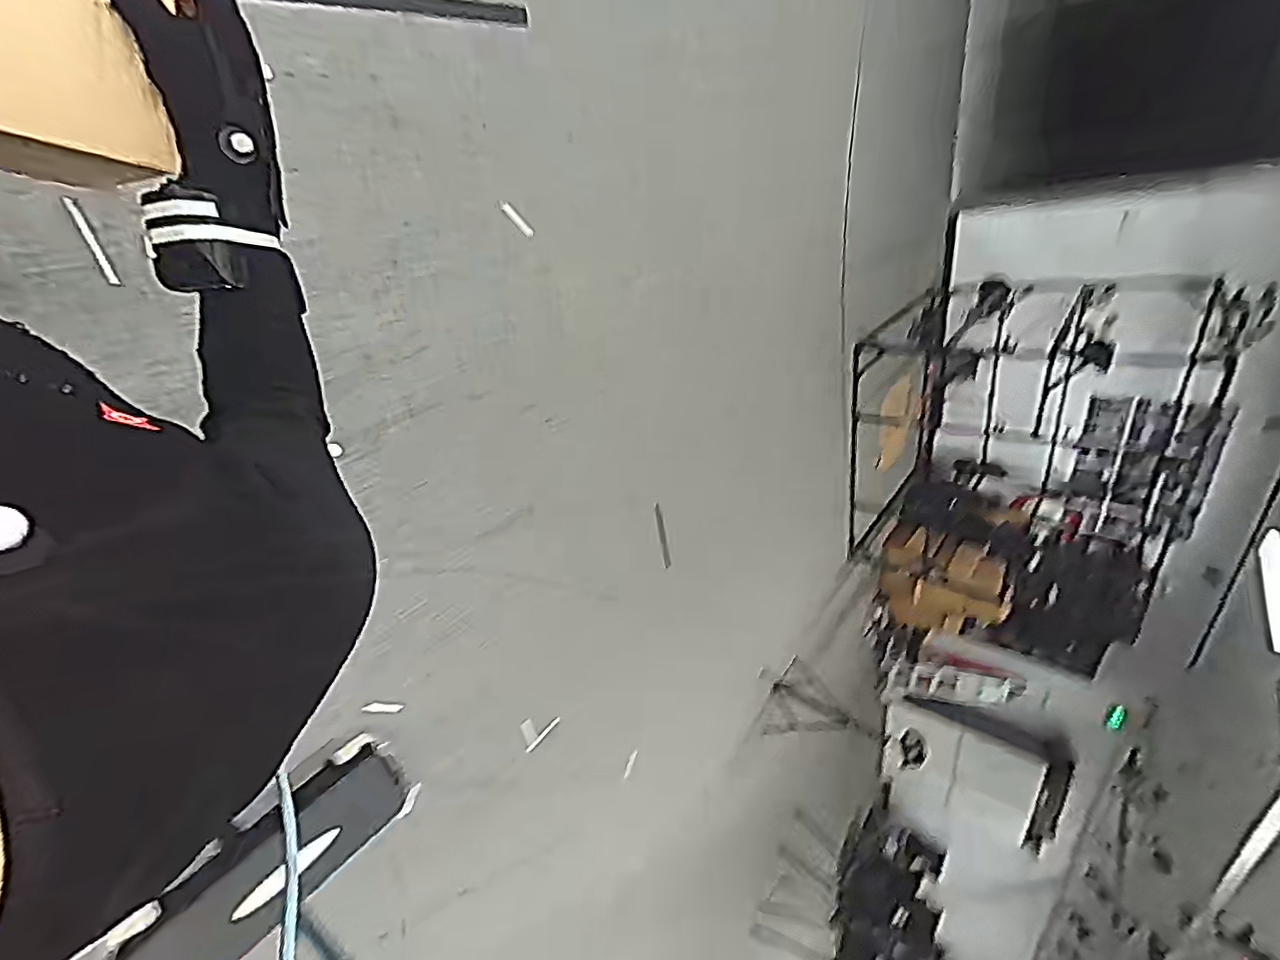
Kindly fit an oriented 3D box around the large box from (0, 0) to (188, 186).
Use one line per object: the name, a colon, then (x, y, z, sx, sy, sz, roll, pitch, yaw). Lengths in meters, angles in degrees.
large box: (-0.558, -0.393, 0.298, 0.408, 0.320, 0.320, -10, 114, -52)
